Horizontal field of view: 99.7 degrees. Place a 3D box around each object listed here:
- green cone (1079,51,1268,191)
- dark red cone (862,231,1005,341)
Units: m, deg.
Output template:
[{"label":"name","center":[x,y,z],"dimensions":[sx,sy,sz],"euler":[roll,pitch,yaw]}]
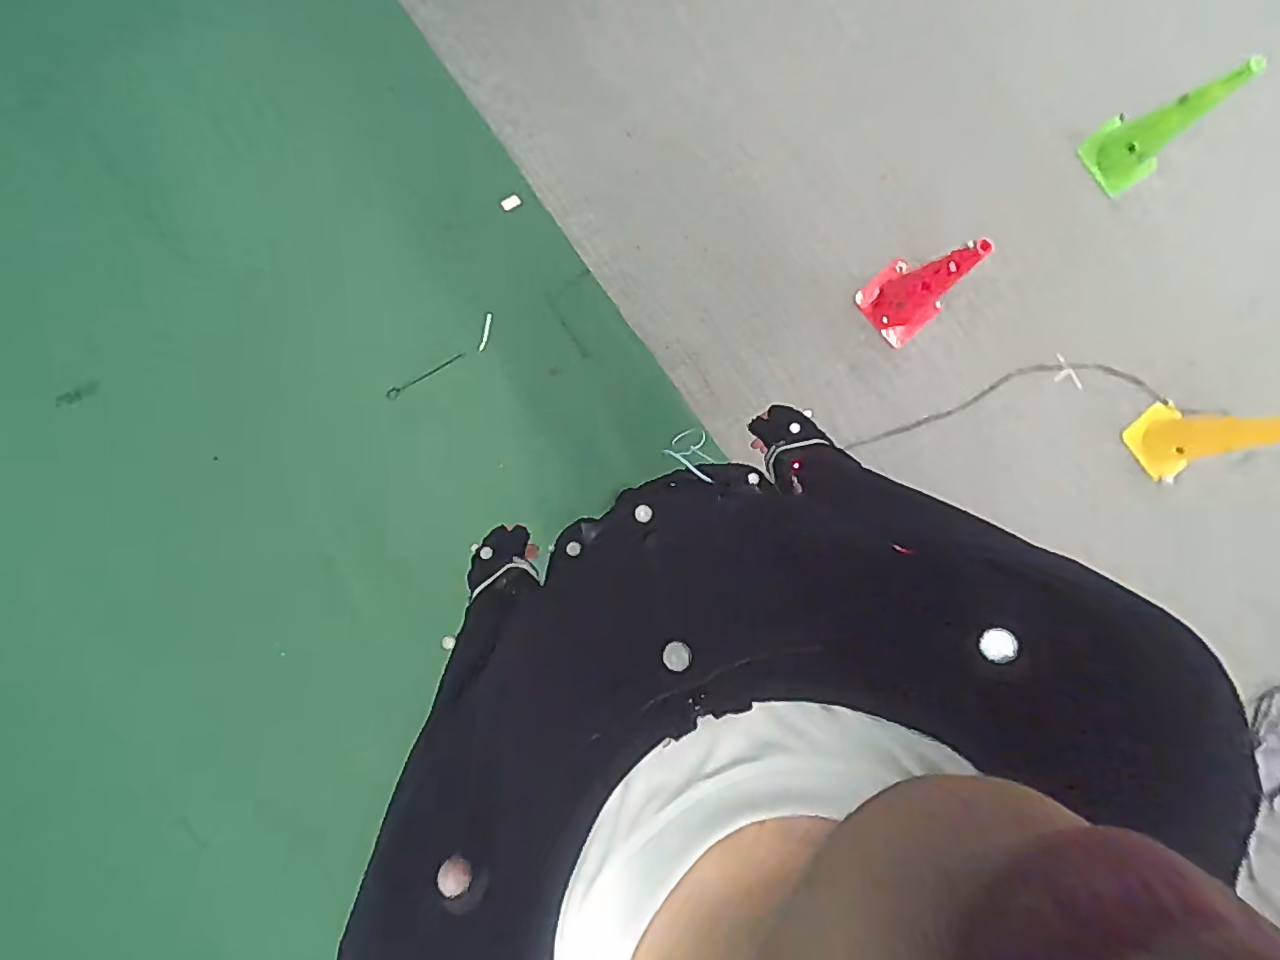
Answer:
[{"label":"green cone","center":[1.457,-1.001,1.462],"dimensions":[0.200,0.368,0.202],"euler":[-38,92,-4]},{"label":"dark red cone","center":[0.763,-0.525,1.368],"dimensions":[0.201,0.394,0.202],"euler":[-42,91,-3]}]
